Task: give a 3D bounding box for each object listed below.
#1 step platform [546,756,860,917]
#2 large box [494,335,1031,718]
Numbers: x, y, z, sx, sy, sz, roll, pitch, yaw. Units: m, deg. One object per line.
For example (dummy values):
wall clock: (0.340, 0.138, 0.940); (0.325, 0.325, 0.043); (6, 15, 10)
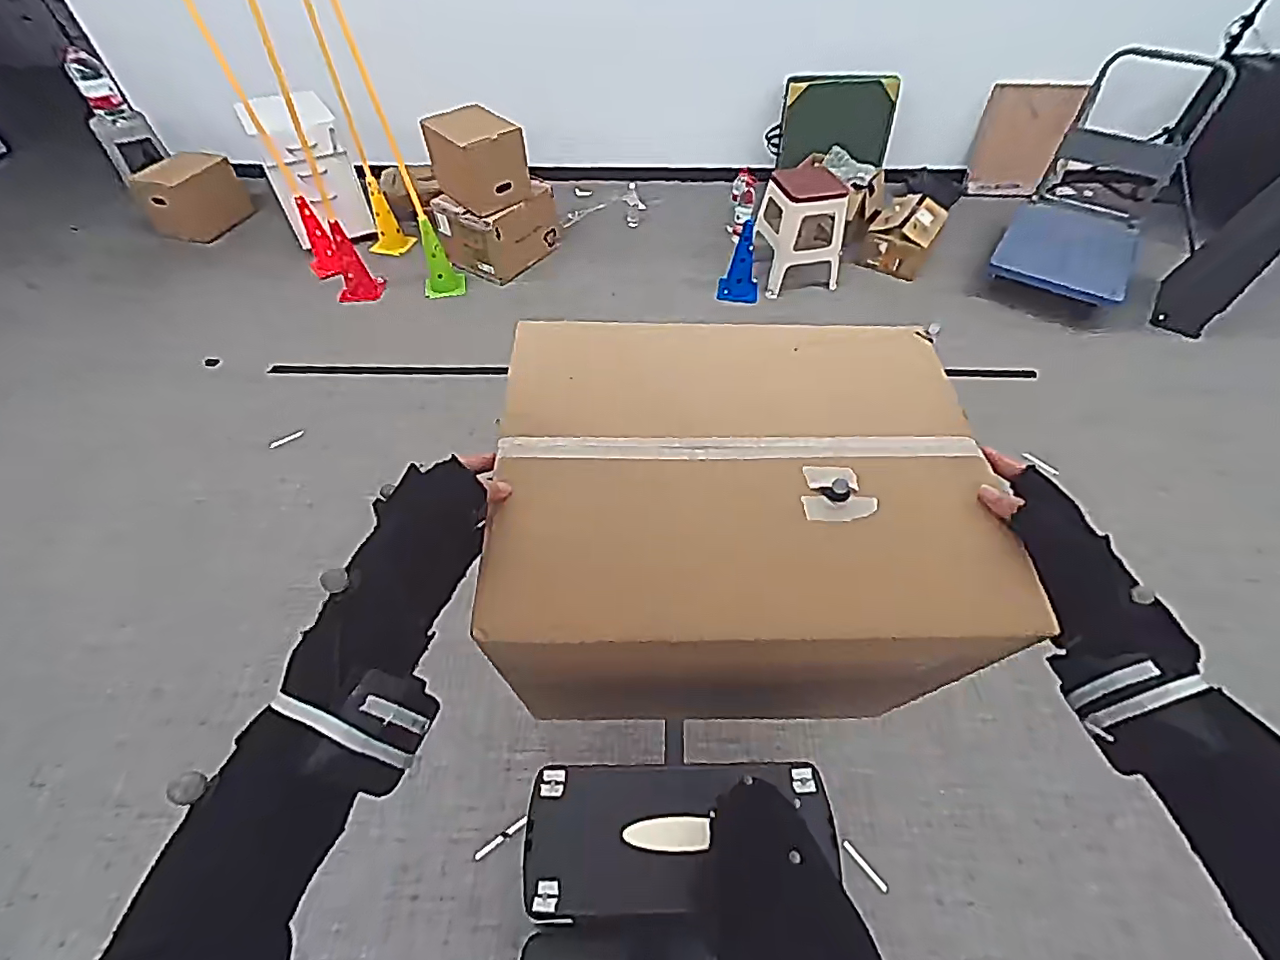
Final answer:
step platform: (0.130, 0.803, 1.233); (0.684, 0.204, 0.286); (-1, 51, -2)
large box: (0.080, 0.062, 0.592); (0.408, 0.320, 0.320); (0, 57, -3)
